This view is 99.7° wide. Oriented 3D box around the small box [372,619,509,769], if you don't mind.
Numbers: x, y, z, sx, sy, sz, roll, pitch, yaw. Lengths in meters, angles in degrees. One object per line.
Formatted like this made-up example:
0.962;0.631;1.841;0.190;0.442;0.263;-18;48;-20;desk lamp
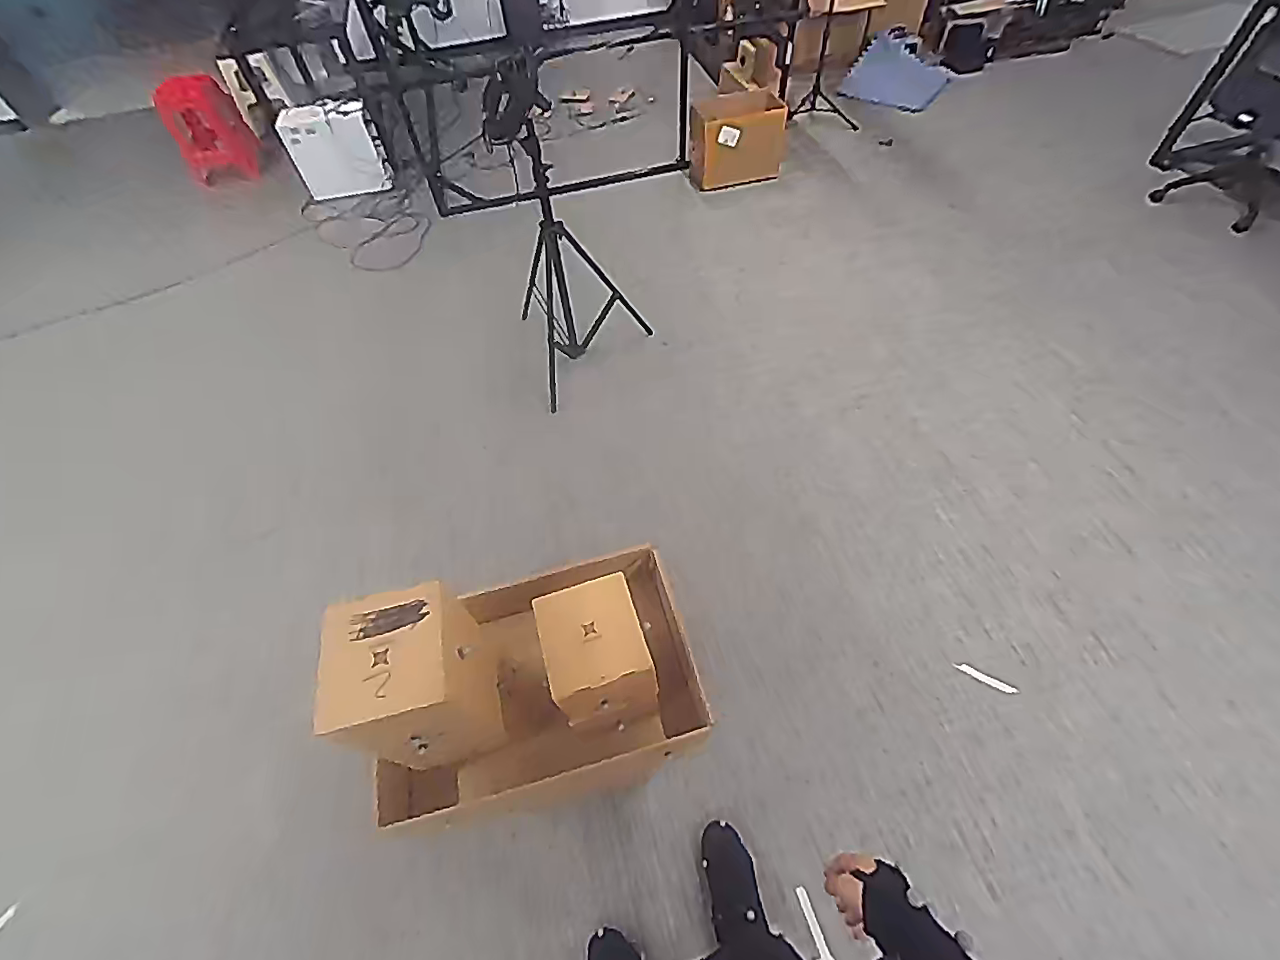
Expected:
-0.333;0.368;0.924;0.168;0.176;0.179;-15;54;-4;small box

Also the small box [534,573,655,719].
-0.077;0.295;0.953;0.168;0.176;0.179;-17;56;-7;small box
